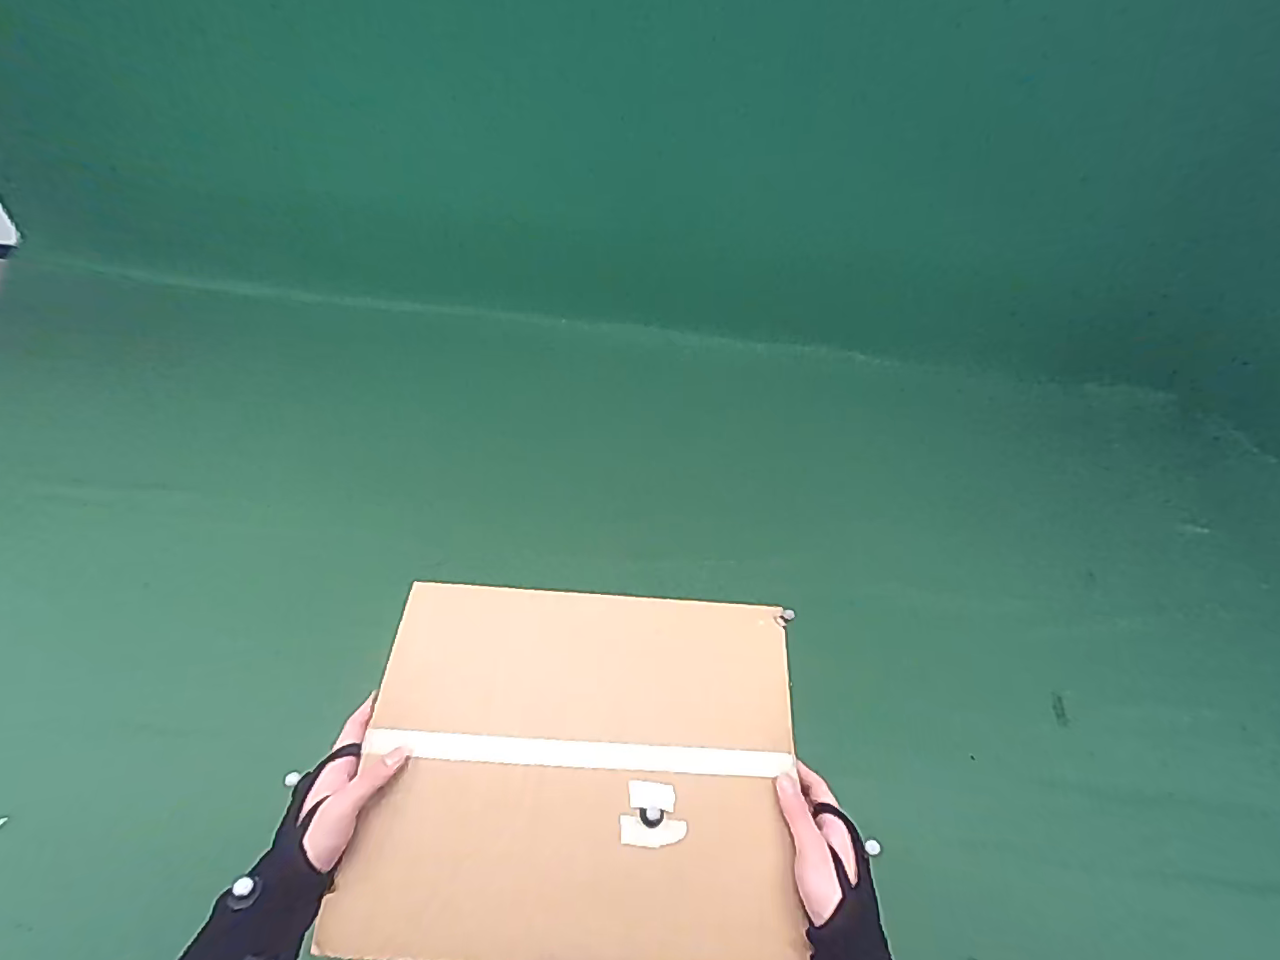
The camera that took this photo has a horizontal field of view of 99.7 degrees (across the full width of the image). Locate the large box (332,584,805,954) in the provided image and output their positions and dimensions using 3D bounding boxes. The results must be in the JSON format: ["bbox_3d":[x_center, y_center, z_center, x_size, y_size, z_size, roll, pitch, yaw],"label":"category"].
[{"bbox_3d":[-0.063,0.336,0.653,0.408,0.320,0.320,4,58,-2],"label":"large box"}]
